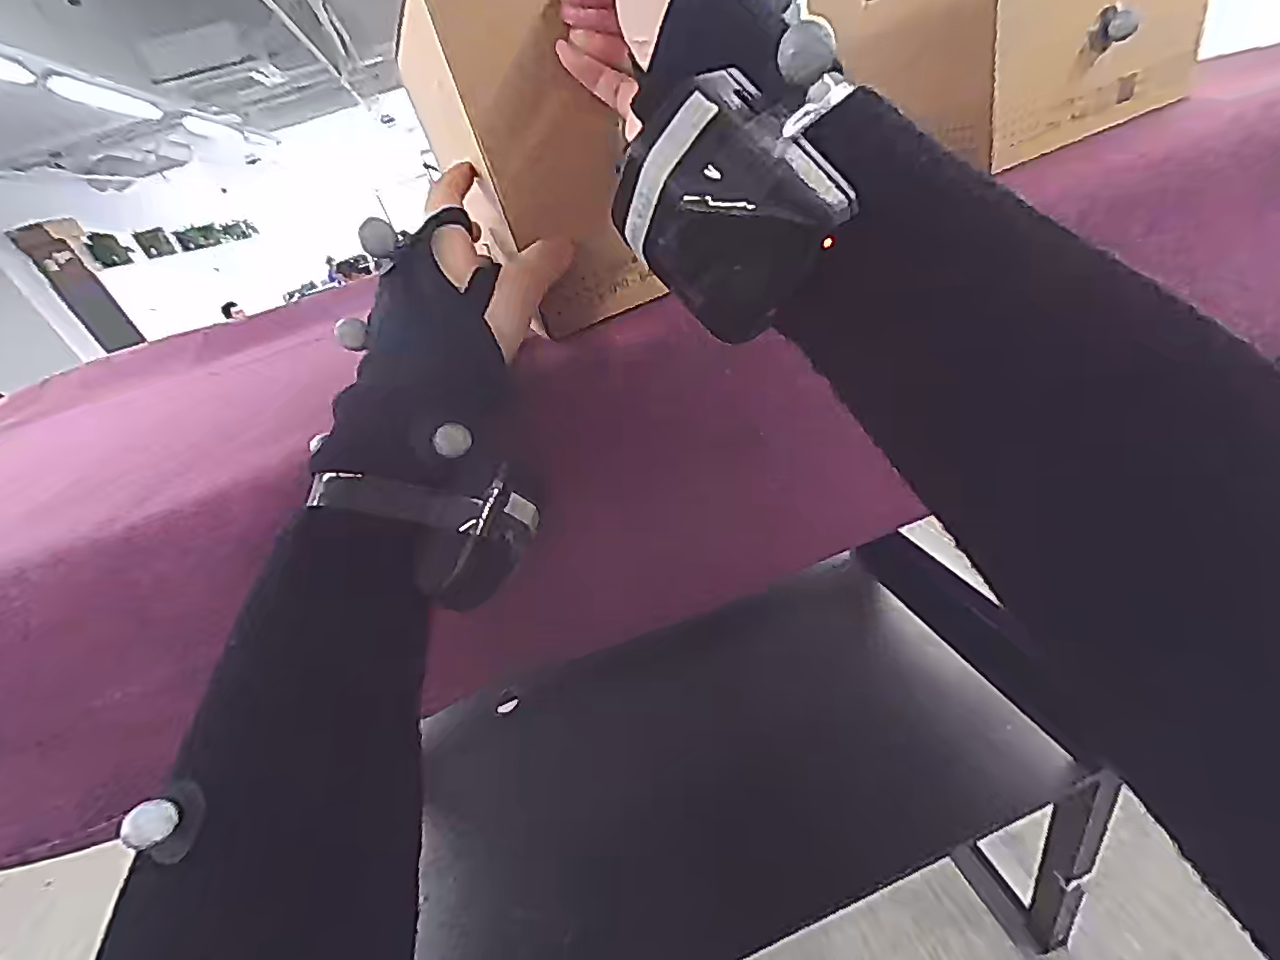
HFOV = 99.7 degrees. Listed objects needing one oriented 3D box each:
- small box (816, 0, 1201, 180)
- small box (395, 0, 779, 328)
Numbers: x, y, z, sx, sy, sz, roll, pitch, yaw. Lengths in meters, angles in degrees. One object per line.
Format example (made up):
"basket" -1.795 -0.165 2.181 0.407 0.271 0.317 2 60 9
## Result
"small box" 0.240 -0.326 0.380 0.168 0.176 0.179 -24 31 -8
"small box" -0.033 -0.211 0.345 0.168 0.176 0.179 -27 32 -14
